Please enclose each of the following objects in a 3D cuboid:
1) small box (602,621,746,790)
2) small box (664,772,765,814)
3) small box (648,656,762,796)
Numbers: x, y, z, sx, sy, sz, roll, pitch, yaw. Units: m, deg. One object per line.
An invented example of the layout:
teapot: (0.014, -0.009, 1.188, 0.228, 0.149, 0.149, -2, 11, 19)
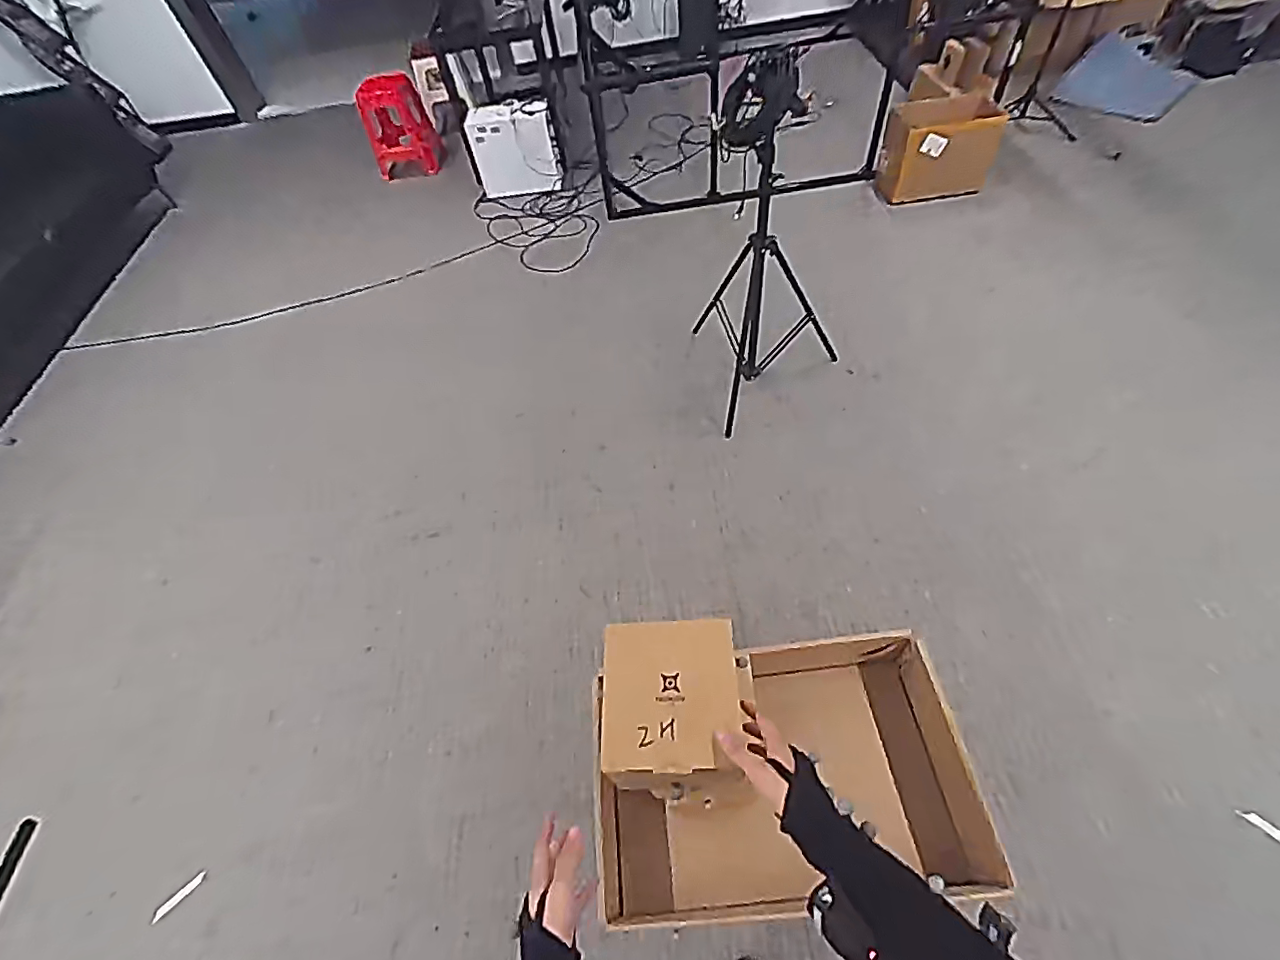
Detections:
small box: (0.046, 0.303, 0.720, 0.168, 0.176, 0.179, -4, 55, 6)
small box: (0.120, 0.488, 0.984, 0.168, 0.176, 0.179, -10, 54, 1)
small box: (0.096, 0.393, 0.851, 0.168, 0.176, 0.179, -5, 54, 5)
